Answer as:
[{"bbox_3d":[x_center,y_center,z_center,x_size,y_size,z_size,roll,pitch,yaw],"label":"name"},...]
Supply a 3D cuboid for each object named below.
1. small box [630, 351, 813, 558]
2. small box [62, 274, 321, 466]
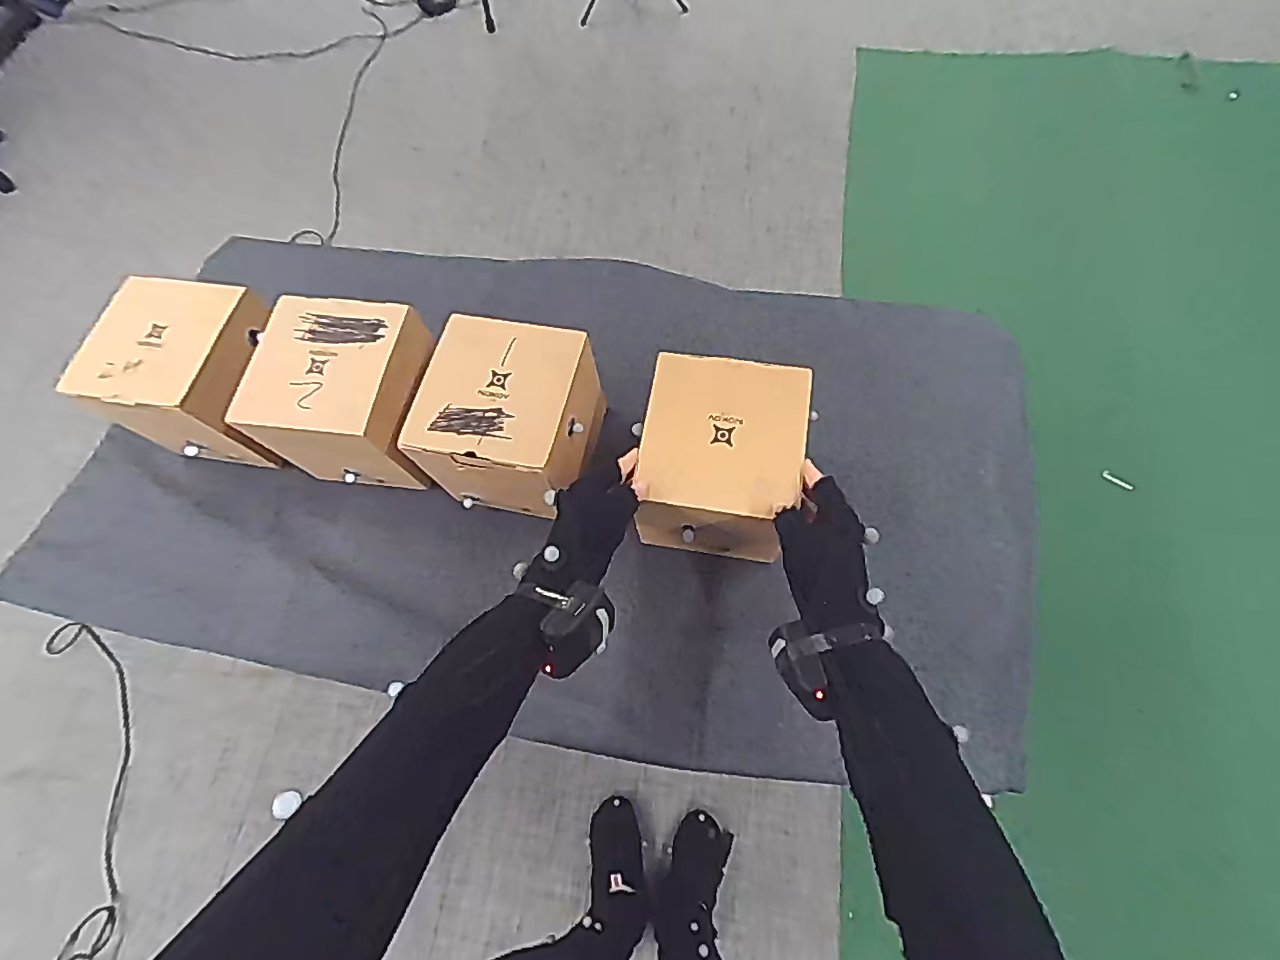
[{"bbox_3d":[0.092,-0.020,0.617,0.168,0.176,0.179,8,68,8],"label":"small box"},{"bbox_3d":[-0.563,-0.139,0.713,0.168,0.176,0.179,8,69,7],"label":"small box"}]
